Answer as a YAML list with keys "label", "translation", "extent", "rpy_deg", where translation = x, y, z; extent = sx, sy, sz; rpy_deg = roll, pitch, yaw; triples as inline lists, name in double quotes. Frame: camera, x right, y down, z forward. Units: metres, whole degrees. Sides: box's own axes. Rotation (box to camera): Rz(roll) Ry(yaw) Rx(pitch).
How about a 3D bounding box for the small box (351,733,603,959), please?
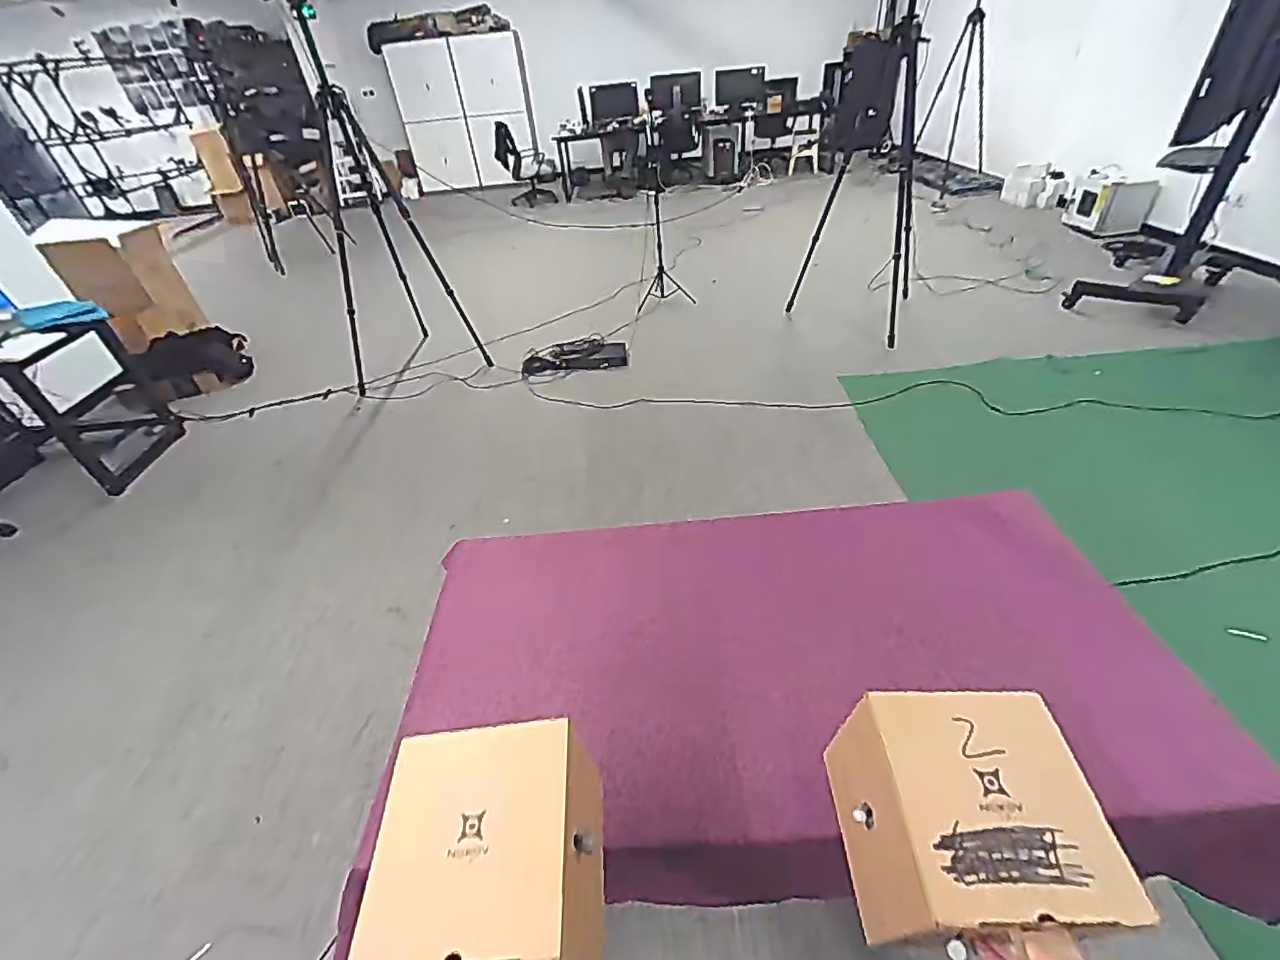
- label: "small box"
  translation: [-0.129, 0.364, 0.503]
  extent: [0.168, 0.176, 0.179]
  rpy_deg: [-7, 43, 2]
